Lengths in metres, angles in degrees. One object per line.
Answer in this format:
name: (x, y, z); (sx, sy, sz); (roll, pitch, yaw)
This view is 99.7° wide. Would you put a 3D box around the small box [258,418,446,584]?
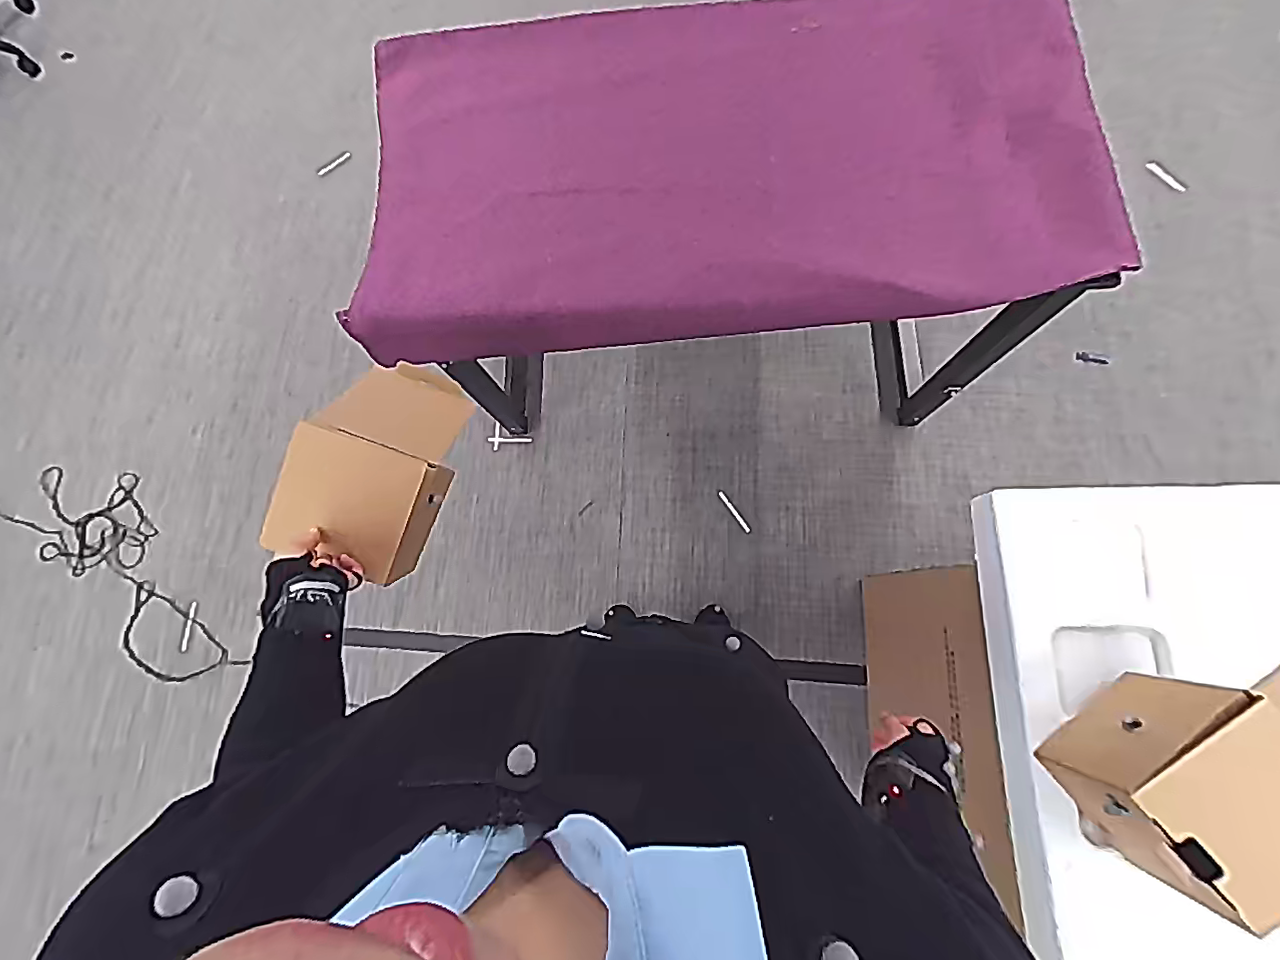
small box: (-0.394, 0.030, 0.780); (0.168, 0.176, 0.179); (22, 85, -9)
